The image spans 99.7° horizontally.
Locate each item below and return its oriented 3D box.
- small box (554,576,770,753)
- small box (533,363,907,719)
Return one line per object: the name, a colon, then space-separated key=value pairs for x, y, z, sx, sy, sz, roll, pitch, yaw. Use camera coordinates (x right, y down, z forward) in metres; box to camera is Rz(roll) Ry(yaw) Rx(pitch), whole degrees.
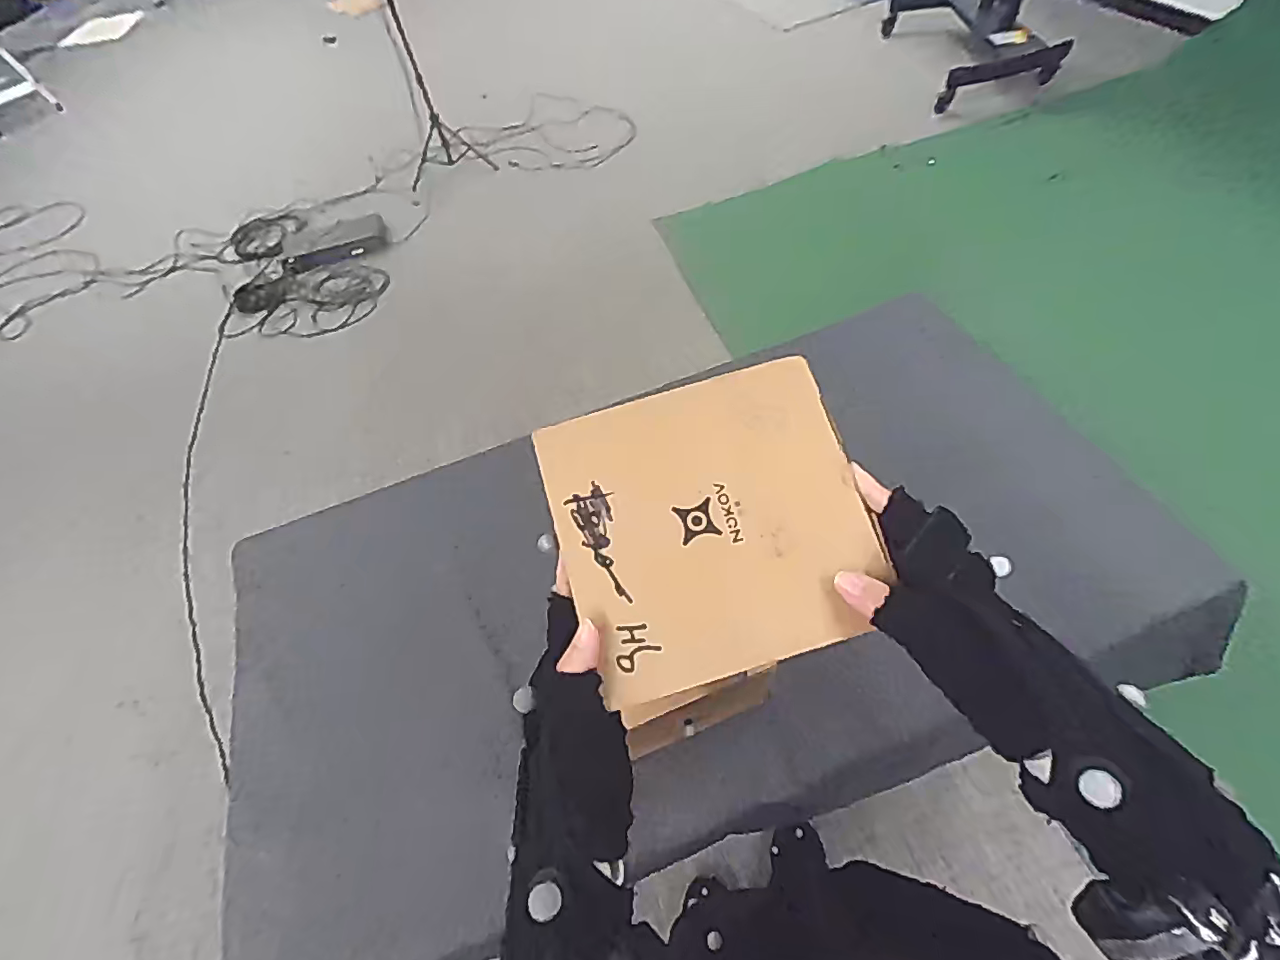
small box: x=0.023 y=0.184 z=0.606 sx=0.179 sy=0.176 sz=0.168 roll=-21 pitch=57 yaw=-6
small box: x=0.042 y=0.047 z=0.385 sx=0.179 sy=0.176 sz=0.168 roll=-18 pitch=75 yaw=-3
